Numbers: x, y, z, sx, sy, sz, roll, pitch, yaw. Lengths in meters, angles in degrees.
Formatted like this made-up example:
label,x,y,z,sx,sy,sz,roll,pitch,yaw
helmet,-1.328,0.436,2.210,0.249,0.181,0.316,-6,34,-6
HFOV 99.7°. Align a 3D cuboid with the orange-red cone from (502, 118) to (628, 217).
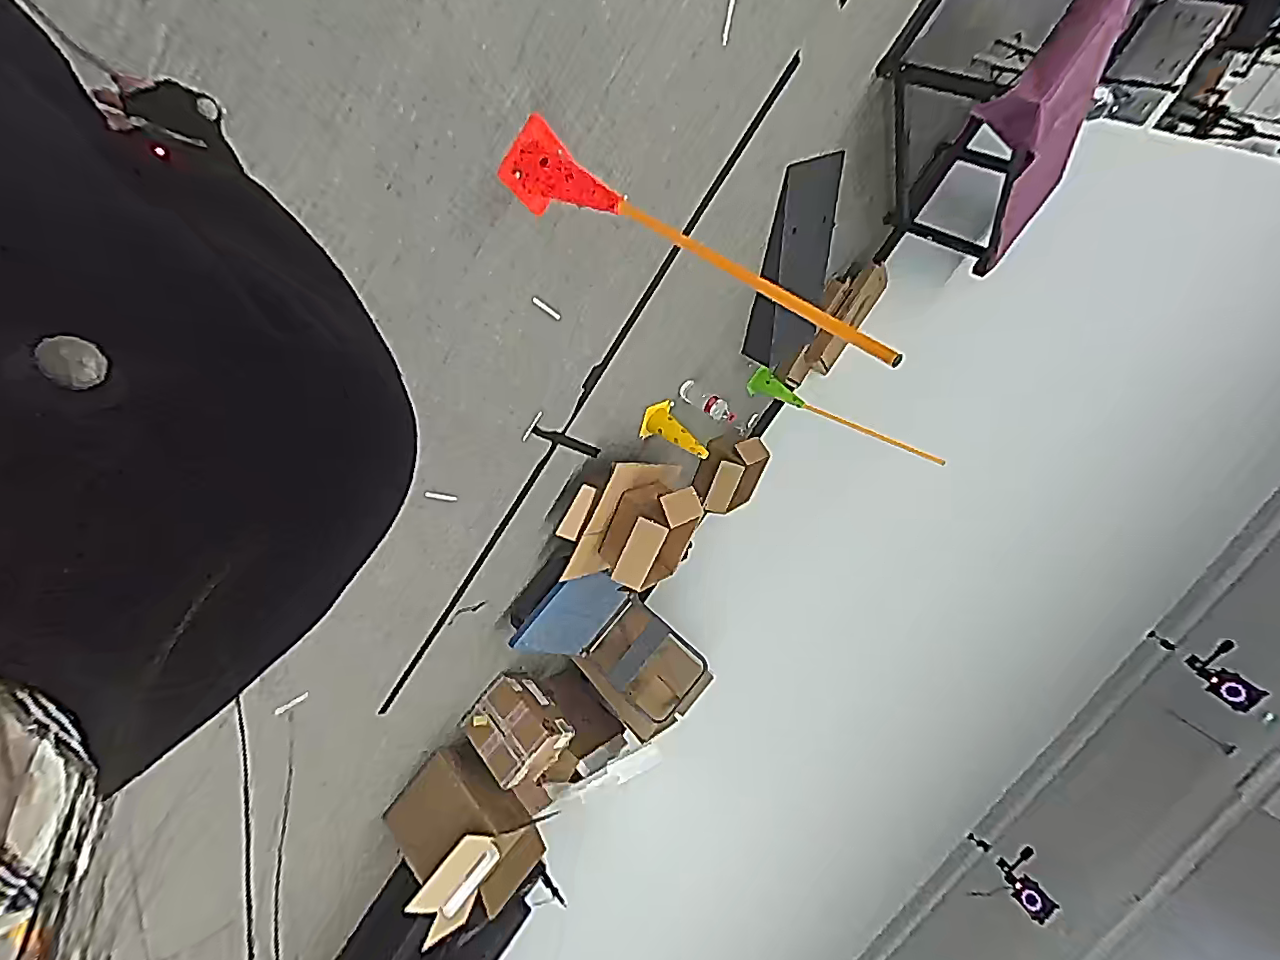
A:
label,x,y,z,sx,sy,sz,roll,pitch,yaw
orange-red cone,-0.167,-0.789,1.461,0.198,0.360,0.199,-54,154,5
